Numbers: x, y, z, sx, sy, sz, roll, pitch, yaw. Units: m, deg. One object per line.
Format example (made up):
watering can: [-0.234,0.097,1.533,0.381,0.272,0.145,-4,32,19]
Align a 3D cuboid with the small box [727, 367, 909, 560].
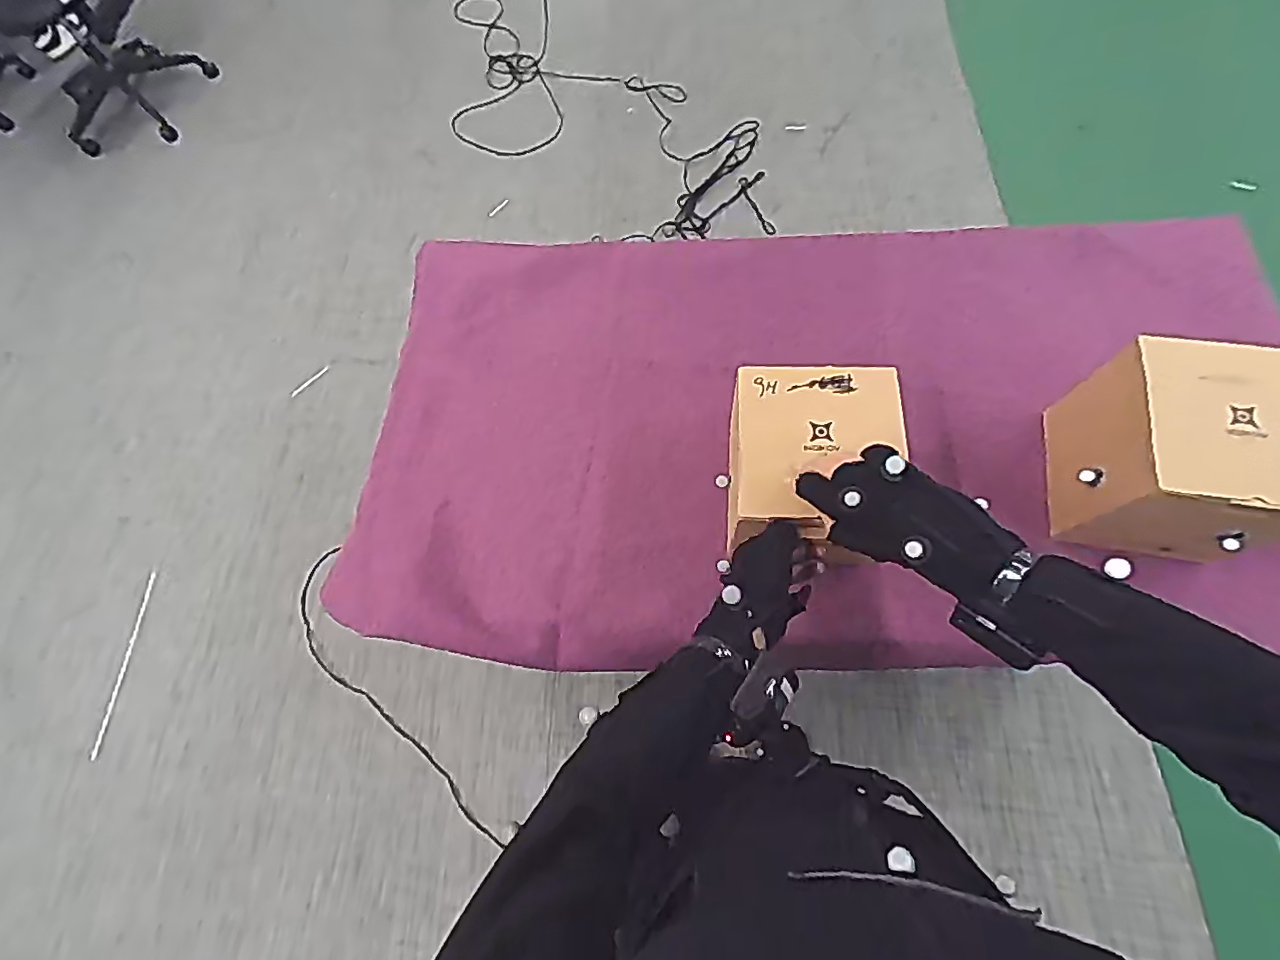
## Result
small box: [0.189,-0.010,0.620,0.168,0.176,0.179,2,69,7]

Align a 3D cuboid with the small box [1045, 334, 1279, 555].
small box: [0.575,-0.028,0.584,0.168,0.176,0.179,9,70,10]
